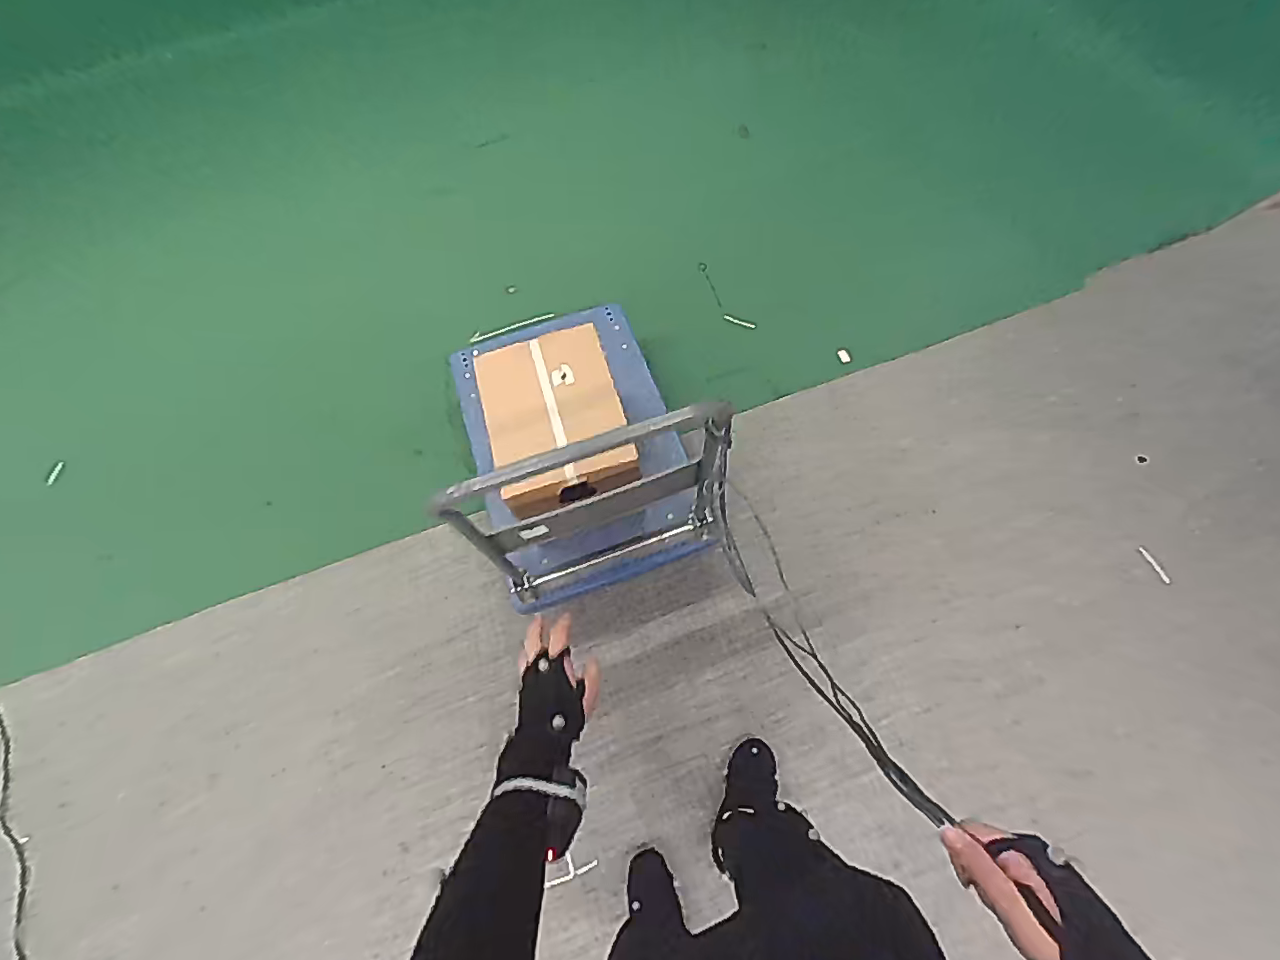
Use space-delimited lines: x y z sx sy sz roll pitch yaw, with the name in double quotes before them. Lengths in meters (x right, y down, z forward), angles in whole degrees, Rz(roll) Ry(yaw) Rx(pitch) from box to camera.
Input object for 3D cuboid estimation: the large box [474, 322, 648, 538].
"large box" -0.192 -0.118 1.384 0.320 0.320 0.408 -17 65 -4
